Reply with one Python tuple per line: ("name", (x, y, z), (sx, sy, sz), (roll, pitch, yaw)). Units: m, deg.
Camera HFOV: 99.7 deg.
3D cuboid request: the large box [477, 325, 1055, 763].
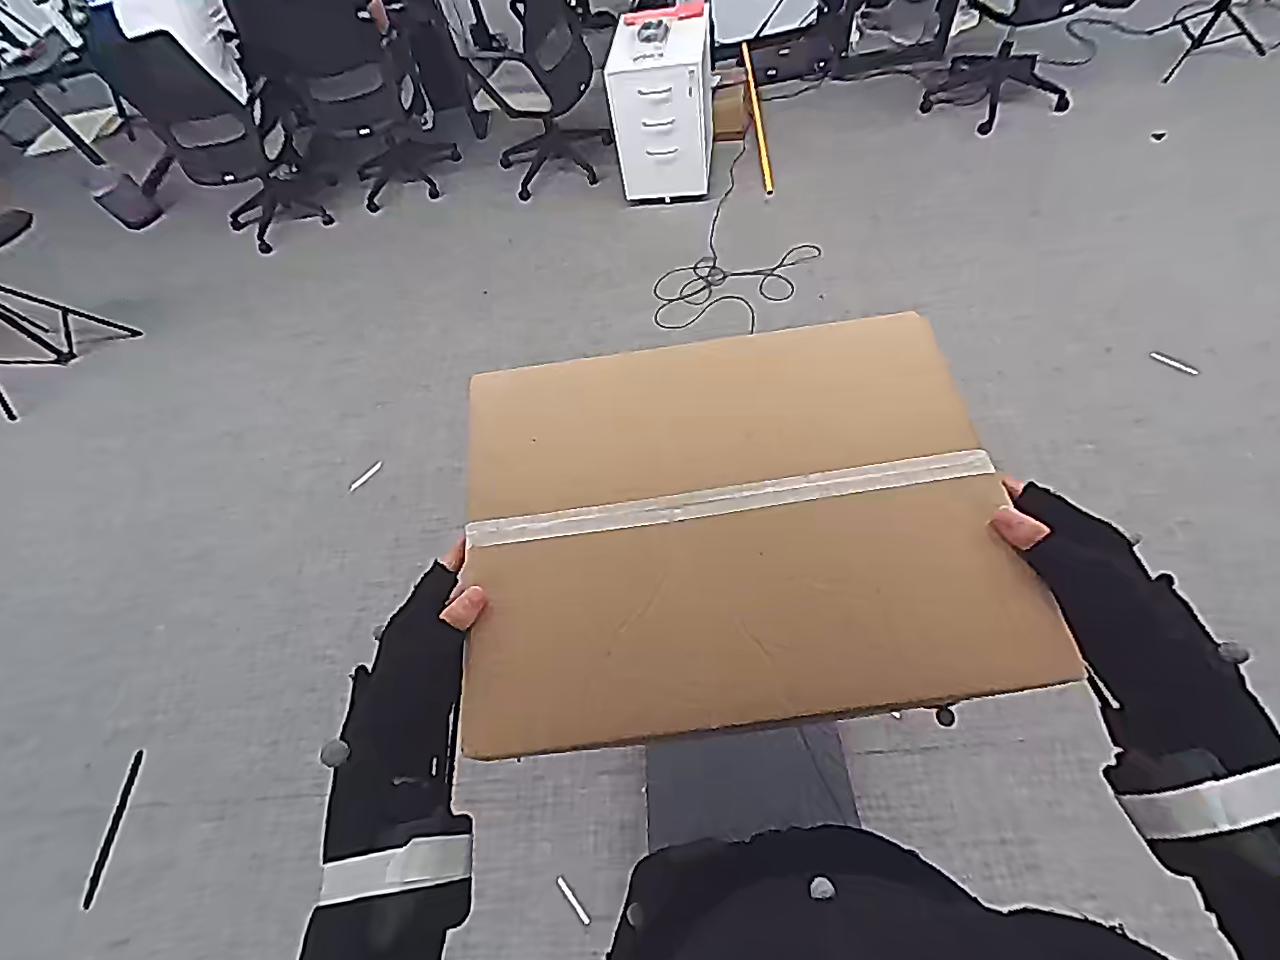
("large box", (0.080, 0.088, 0.563), (0.408, 0.320, 0.320), (-9, 63, 1))
